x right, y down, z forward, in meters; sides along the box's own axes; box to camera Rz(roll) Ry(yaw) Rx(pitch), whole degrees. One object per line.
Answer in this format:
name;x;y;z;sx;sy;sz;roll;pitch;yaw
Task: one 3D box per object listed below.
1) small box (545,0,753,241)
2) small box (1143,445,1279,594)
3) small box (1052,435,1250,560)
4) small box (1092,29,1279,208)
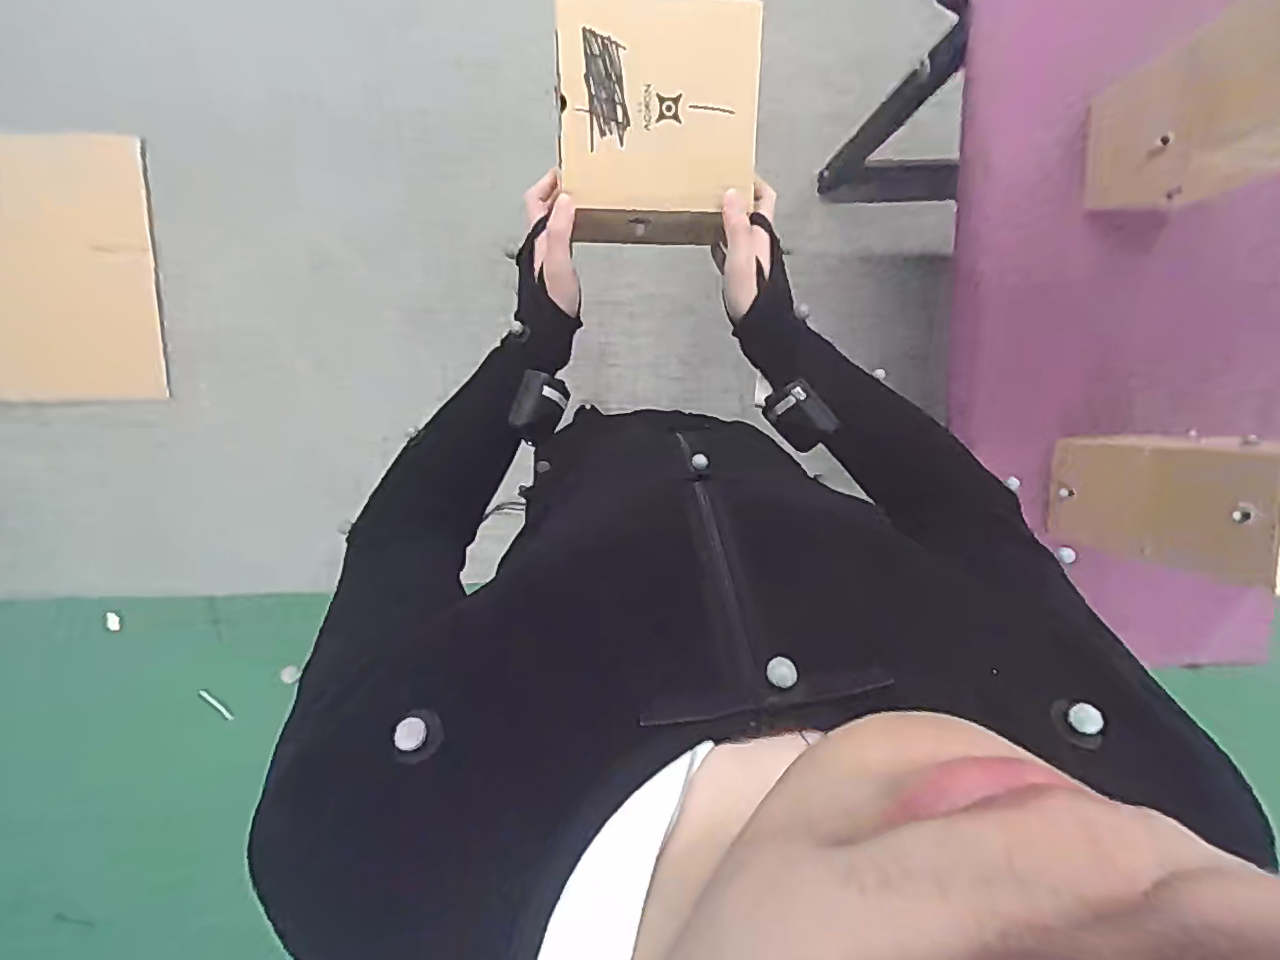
small box;0.002;-0.344;0.545;0.179;0.176;0.168;-1;104;-5
small box;0.829;0.041;0.720;0.168;0.176;0.179;-1;97;-3
small box;0.817;0.021;0.883;0.168;0.176;0.179;-3;97;-4
small box;0.836;-0.529;0.818;0.168;0.176;0.179;-1;97;-4
